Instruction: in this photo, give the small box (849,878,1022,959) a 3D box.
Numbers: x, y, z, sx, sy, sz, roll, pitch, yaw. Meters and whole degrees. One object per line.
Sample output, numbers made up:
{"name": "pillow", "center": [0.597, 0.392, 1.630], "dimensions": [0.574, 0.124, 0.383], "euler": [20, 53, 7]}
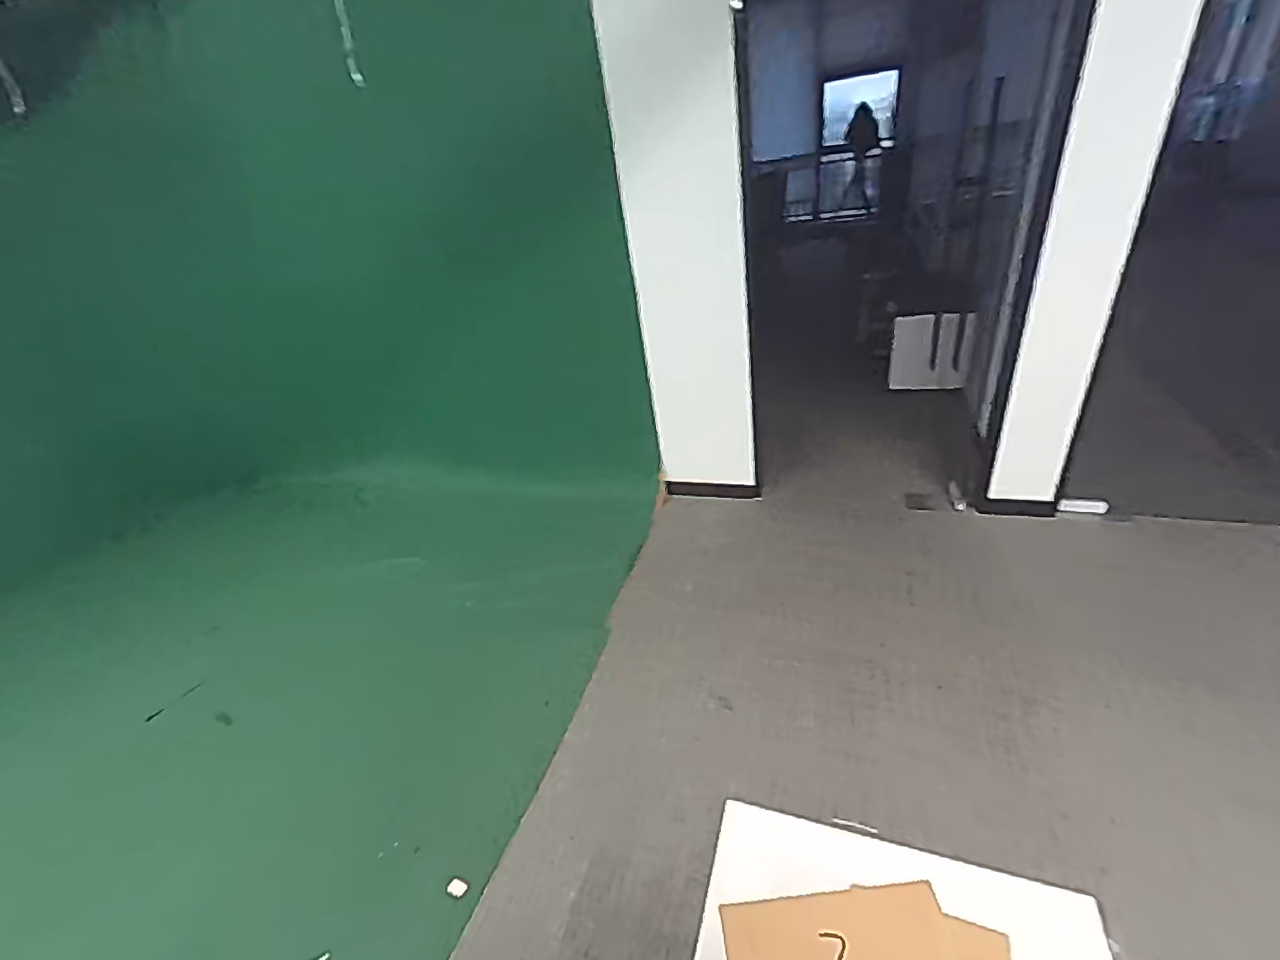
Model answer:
{"name": "small box", "center": [0.321, 0.602, 0.601], "dimensions": [0.168, 0.176, 0.179], "euler": [4, 34, 22]}
